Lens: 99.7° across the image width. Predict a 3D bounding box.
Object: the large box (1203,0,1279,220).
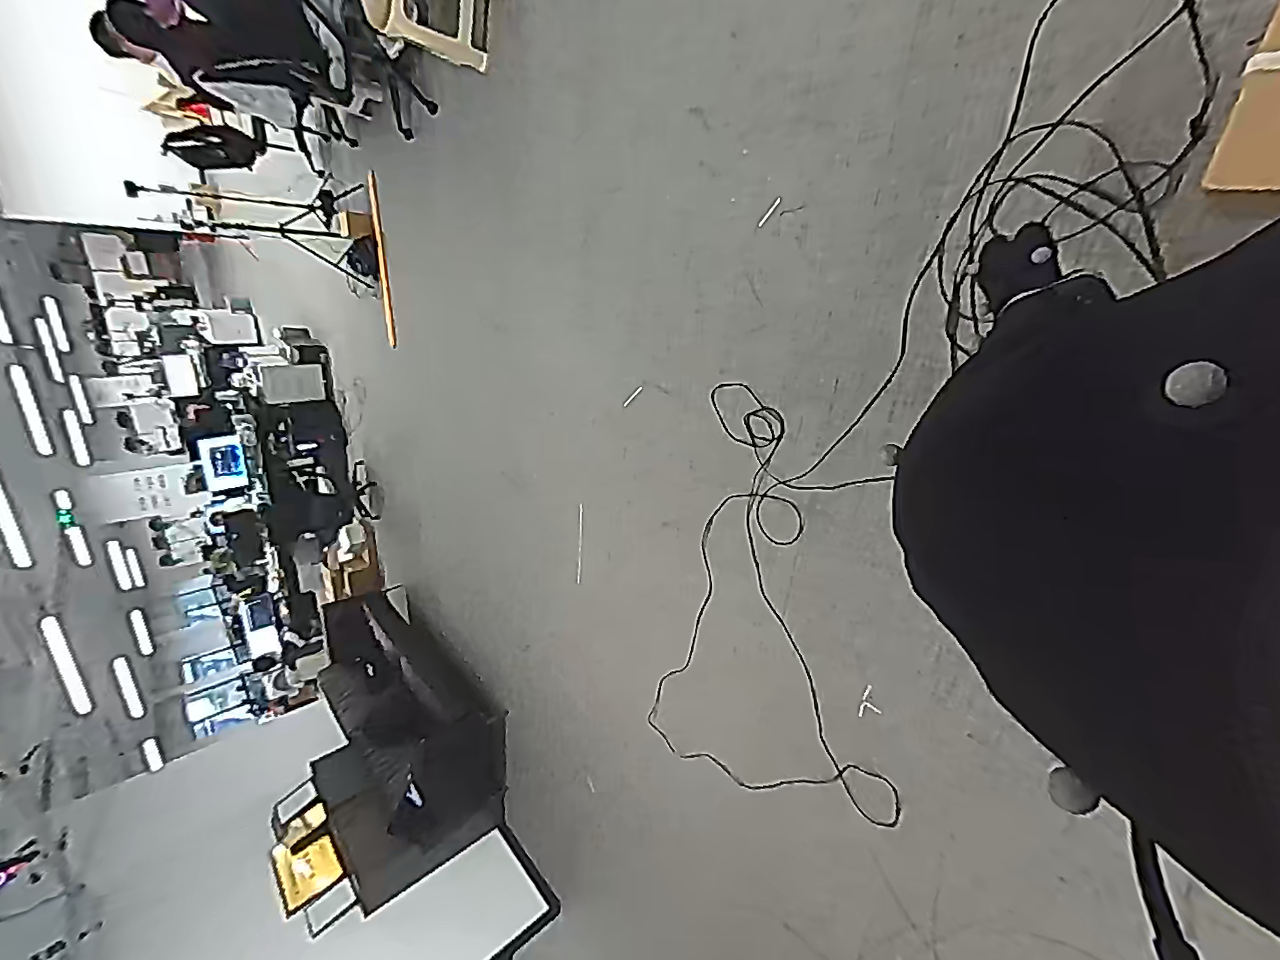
[{"bbox_3d":[1.088,-0.535,0.720,0.408,0.320,0.320,27,120,40],"label":"large box"}]
